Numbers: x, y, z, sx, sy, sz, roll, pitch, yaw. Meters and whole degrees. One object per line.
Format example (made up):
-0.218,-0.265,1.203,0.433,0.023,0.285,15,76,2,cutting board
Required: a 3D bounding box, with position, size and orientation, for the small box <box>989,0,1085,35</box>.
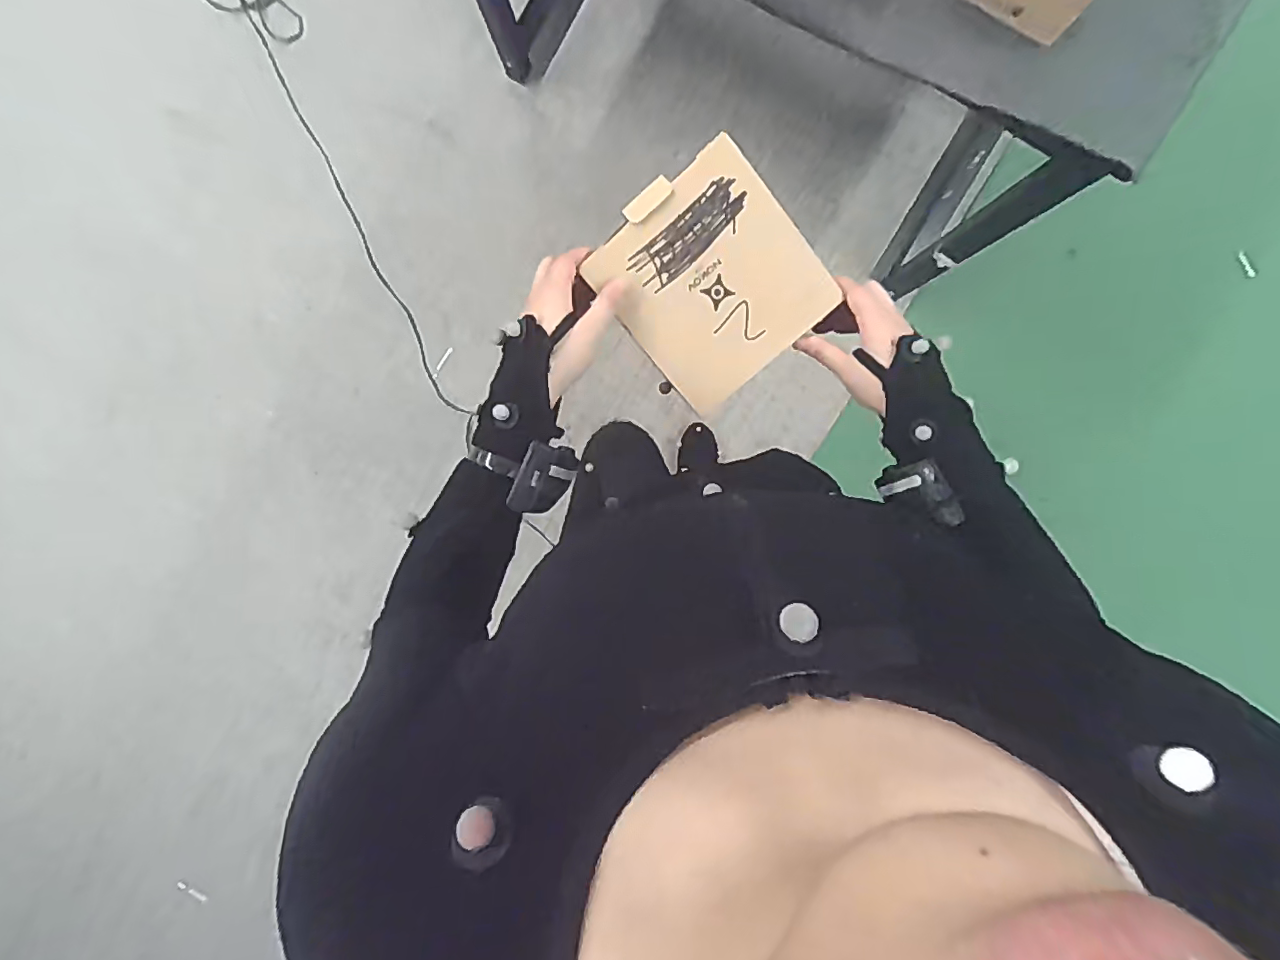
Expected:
0.485,-0.661,0.598,0.168,0.176,0.179,31,92,0,small box
